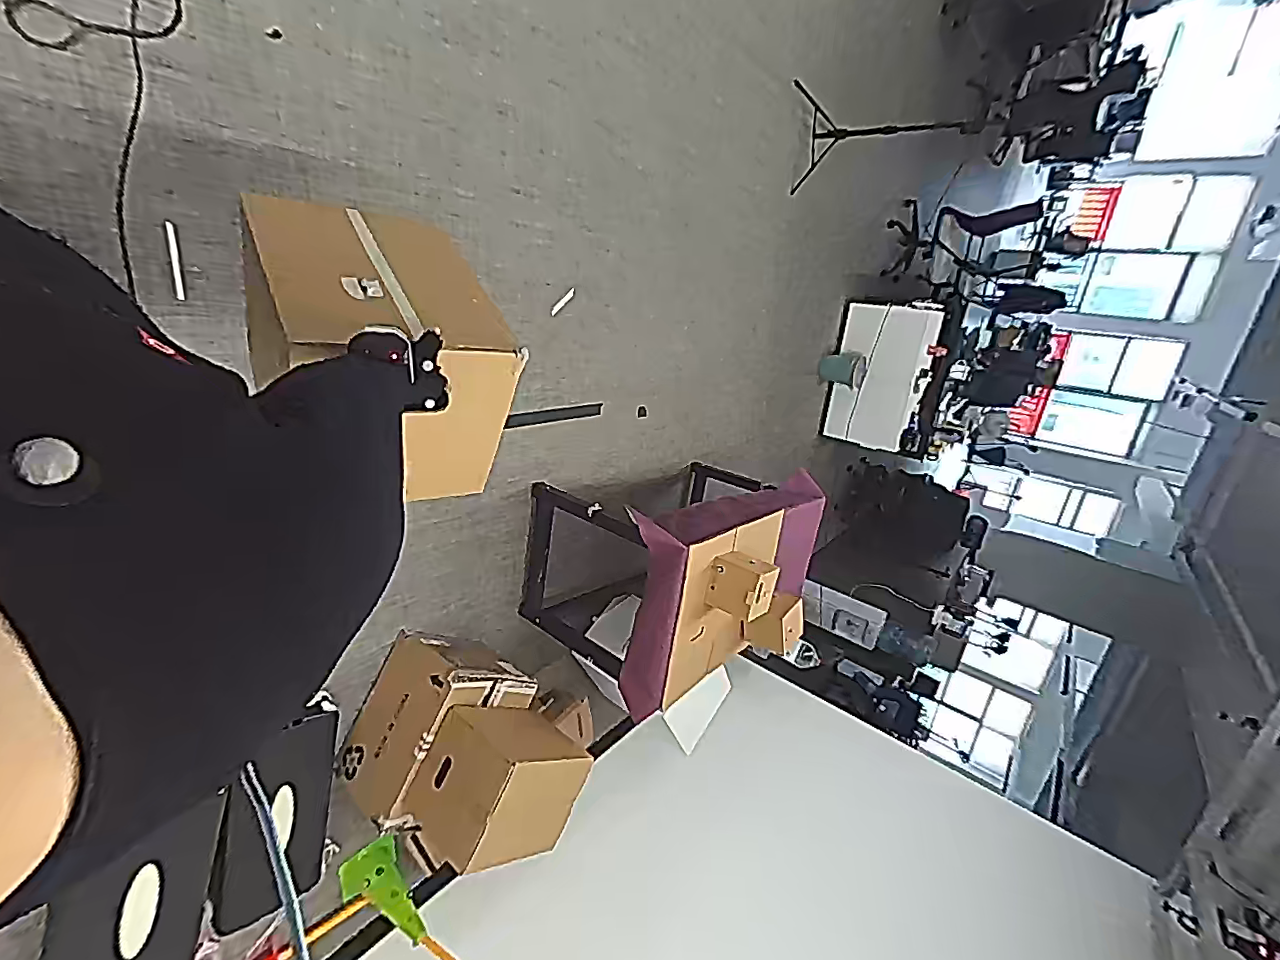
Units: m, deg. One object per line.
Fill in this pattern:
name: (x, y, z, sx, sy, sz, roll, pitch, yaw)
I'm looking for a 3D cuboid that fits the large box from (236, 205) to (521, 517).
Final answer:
large box: (-0.465, -0.201, 0.931, 0.320, 0.408, 0.320, -10, 143, -40)
